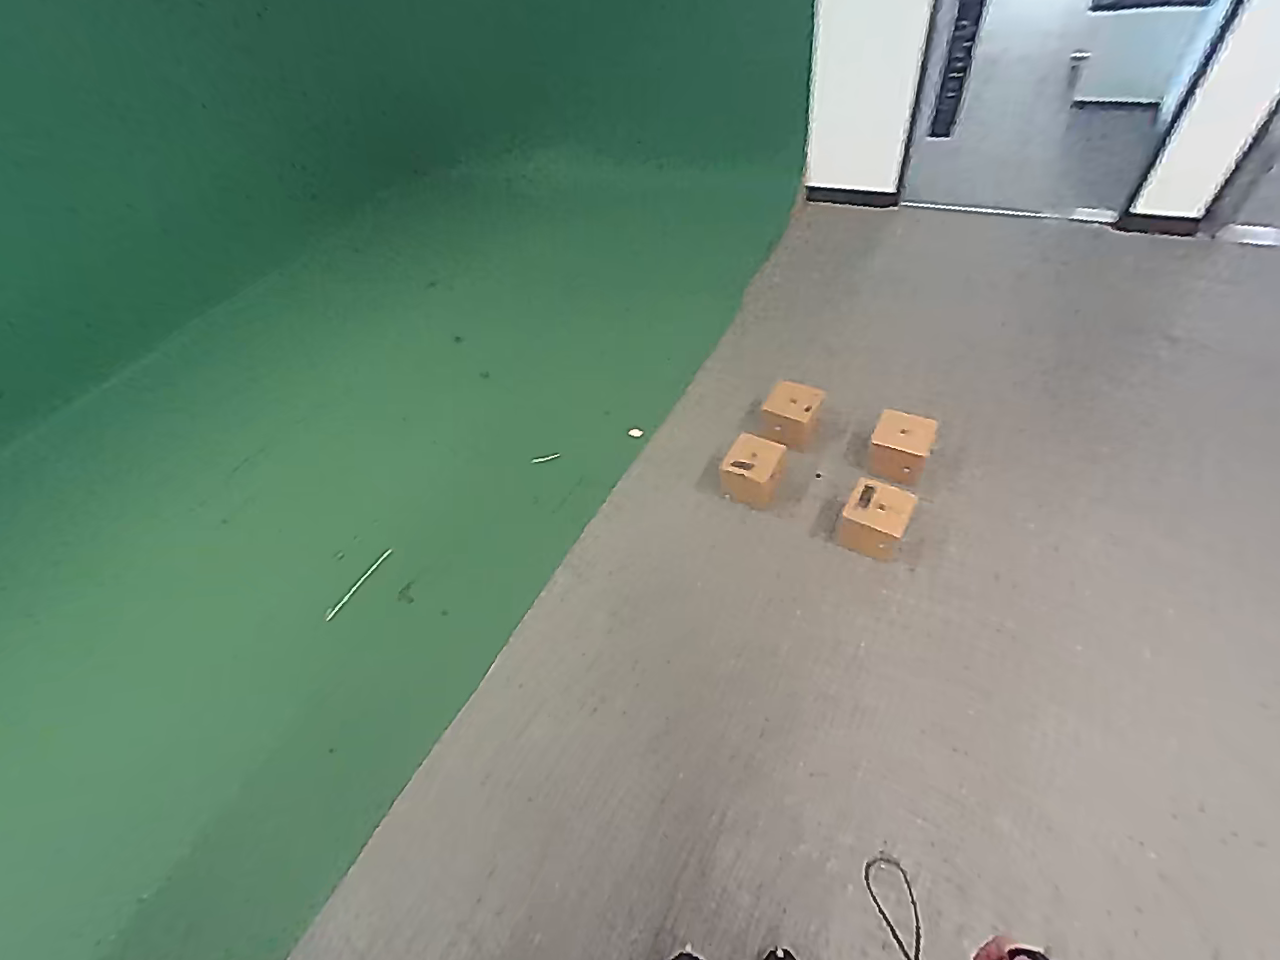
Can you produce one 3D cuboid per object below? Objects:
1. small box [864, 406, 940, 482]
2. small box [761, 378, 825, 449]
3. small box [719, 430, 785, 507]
[{"bbox_3d":[0.874,-0.116,1.816,0.179,0.176,0.168,21,60,26],"label":"small box"},{"bbox_3d":[0.556,-0.241,1.978,0.179,0.176,0.168,23,62,27],"label":"small box"},{"bbox_3d":[0.389,-0.036,1.860,0.168,0.176,0.179,22,60,25],"label":"small box"}]
